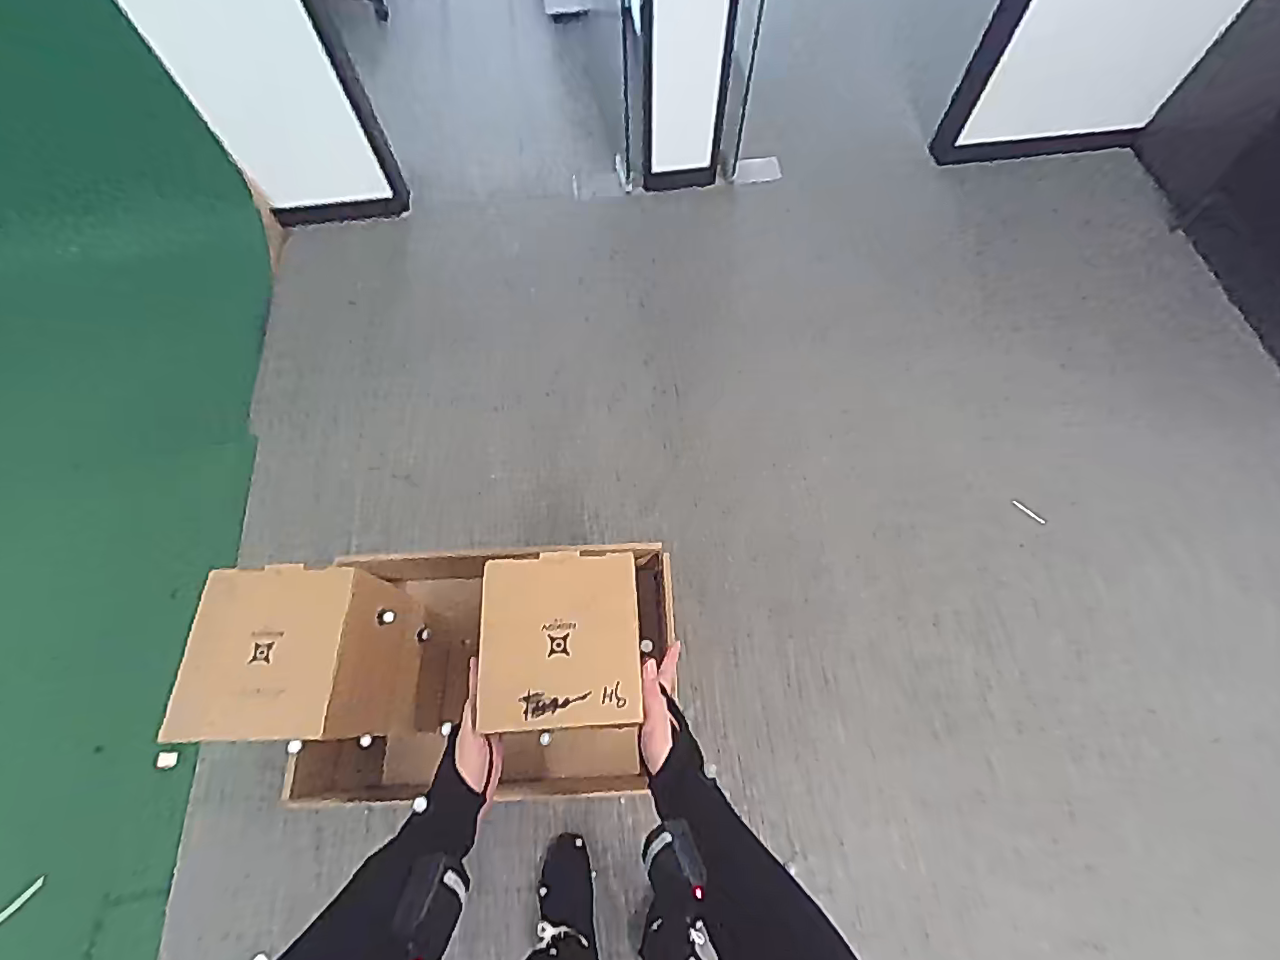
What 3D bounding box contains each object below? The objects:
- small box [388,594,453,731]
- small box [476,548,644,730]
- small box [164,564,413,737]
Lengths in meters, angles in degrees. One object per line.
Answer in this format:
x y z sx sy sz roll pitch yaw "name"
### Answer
-0.389 0.271 0.794 0.168 0.176 0.179 -1 67 1 "small box"
-0.083 0.191 0.633 0.168 0.176 0.179 -3 65 -1 "small box"
-0.391 0.207 0.643 0.168 0.176 0.179 -2 66 2 "small box"
